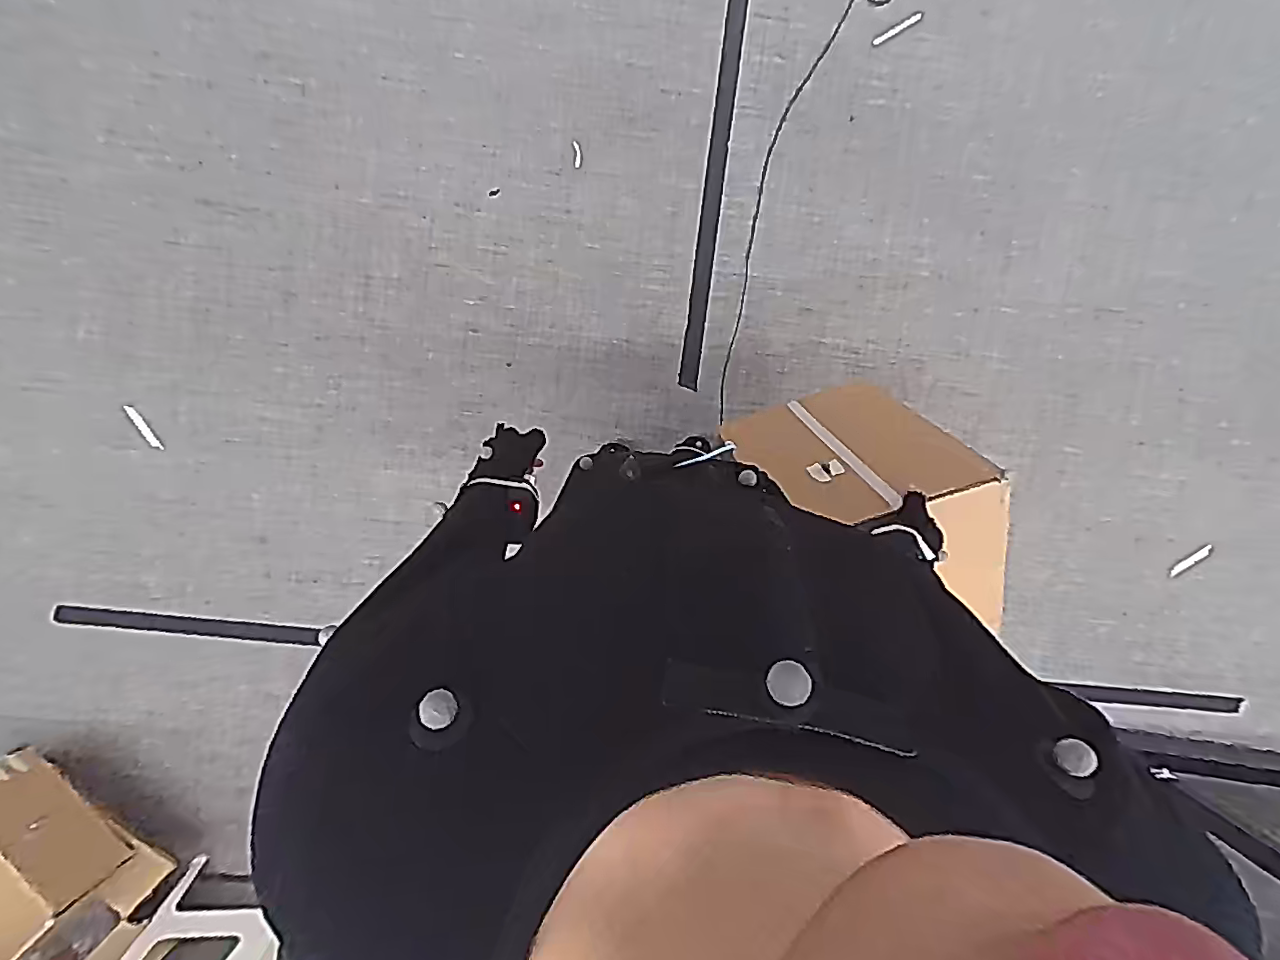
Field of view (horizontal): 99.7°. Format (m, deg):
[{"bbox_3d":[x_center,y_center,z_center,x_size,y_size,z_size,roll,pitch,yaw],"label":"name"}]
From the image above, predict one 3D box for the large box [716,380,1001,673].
[{"bbox_3d":[0.366,0.064,0.996,0.320,0.408,0.320,-19,122,2],"label":"large box"}]
